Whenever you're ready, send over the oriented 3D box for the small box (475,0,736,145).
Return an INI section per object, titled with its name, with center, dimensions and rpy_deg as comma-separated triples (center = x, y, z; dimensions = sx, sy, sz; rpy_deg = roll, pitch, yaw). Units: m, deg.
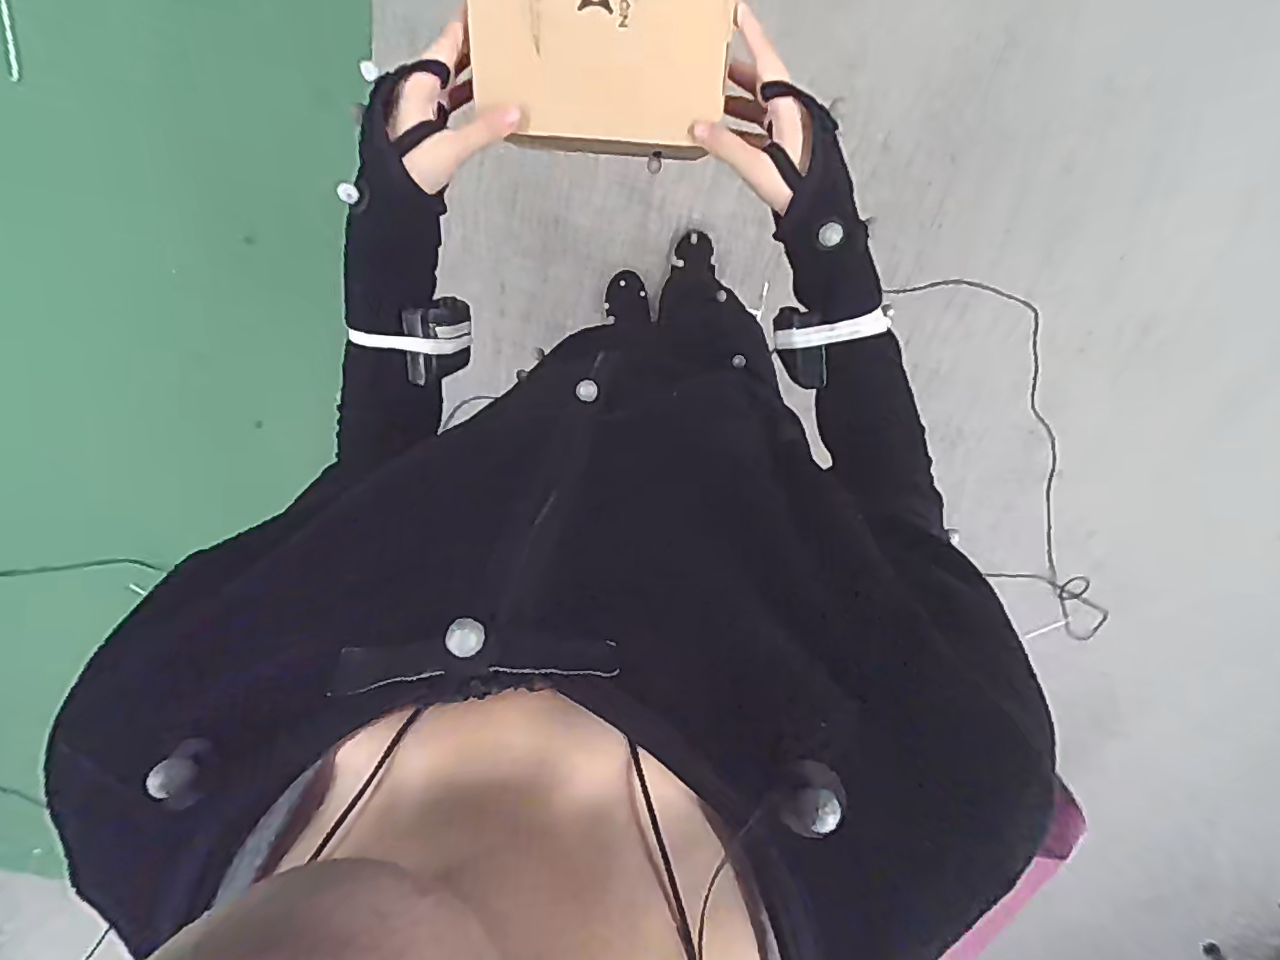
[small box]
center = -0.023, -0.369, 0.422
dimensions = 0.179, 0.176, 0.168
rpy_deg = 4, 117, -2
